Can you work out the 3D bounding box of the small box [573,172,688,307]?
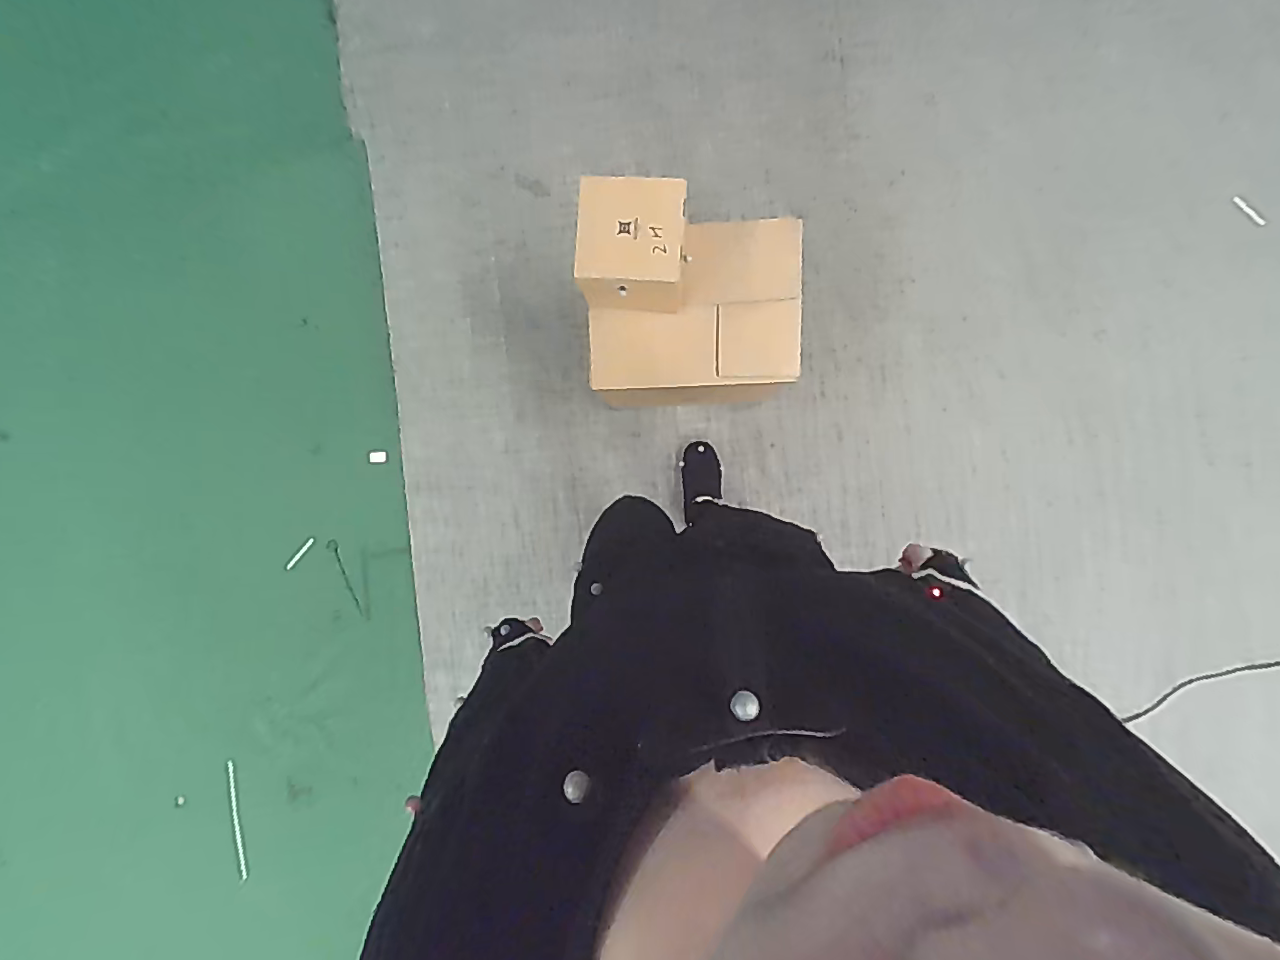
[{"bbox_3d":[-0.010,-0.411,0.948,0.179,0.176,0.168,4,92,4],"label":"small box"}]
